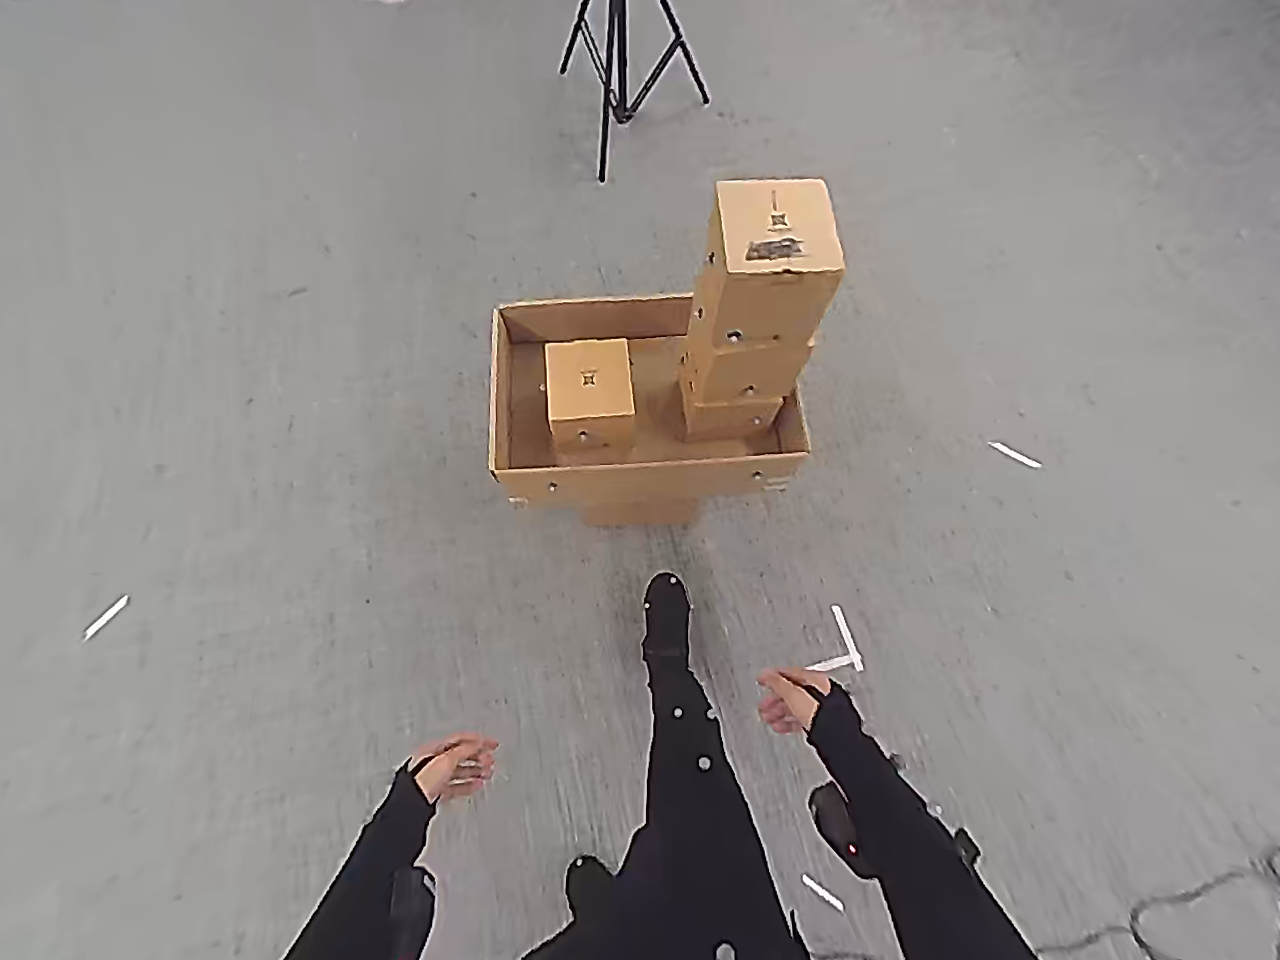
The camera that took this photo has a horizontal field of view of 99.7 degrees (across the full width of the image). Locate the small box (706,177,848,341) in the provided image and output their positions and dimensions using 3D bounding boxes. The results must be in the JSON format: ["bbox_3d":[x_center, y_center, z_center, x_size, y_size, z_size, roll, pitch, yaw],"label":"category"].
[{"bbox_3d":[0.196,-0.328,0.828,0.168,0.176,0.179,-2,69,-2],"label":"small box"}]

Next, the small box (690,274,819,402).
[{"bbox_3d":[0.196,-0.255,0.977,0.179,0.176,0.168,-5,69,-4],"label":"small box"}]

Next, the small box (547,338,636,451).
[{"bbox_3d":[-0.097,-0.168,1.118,0.168,0.176,0.179,-5,69,-3],"label":"small box"}]
